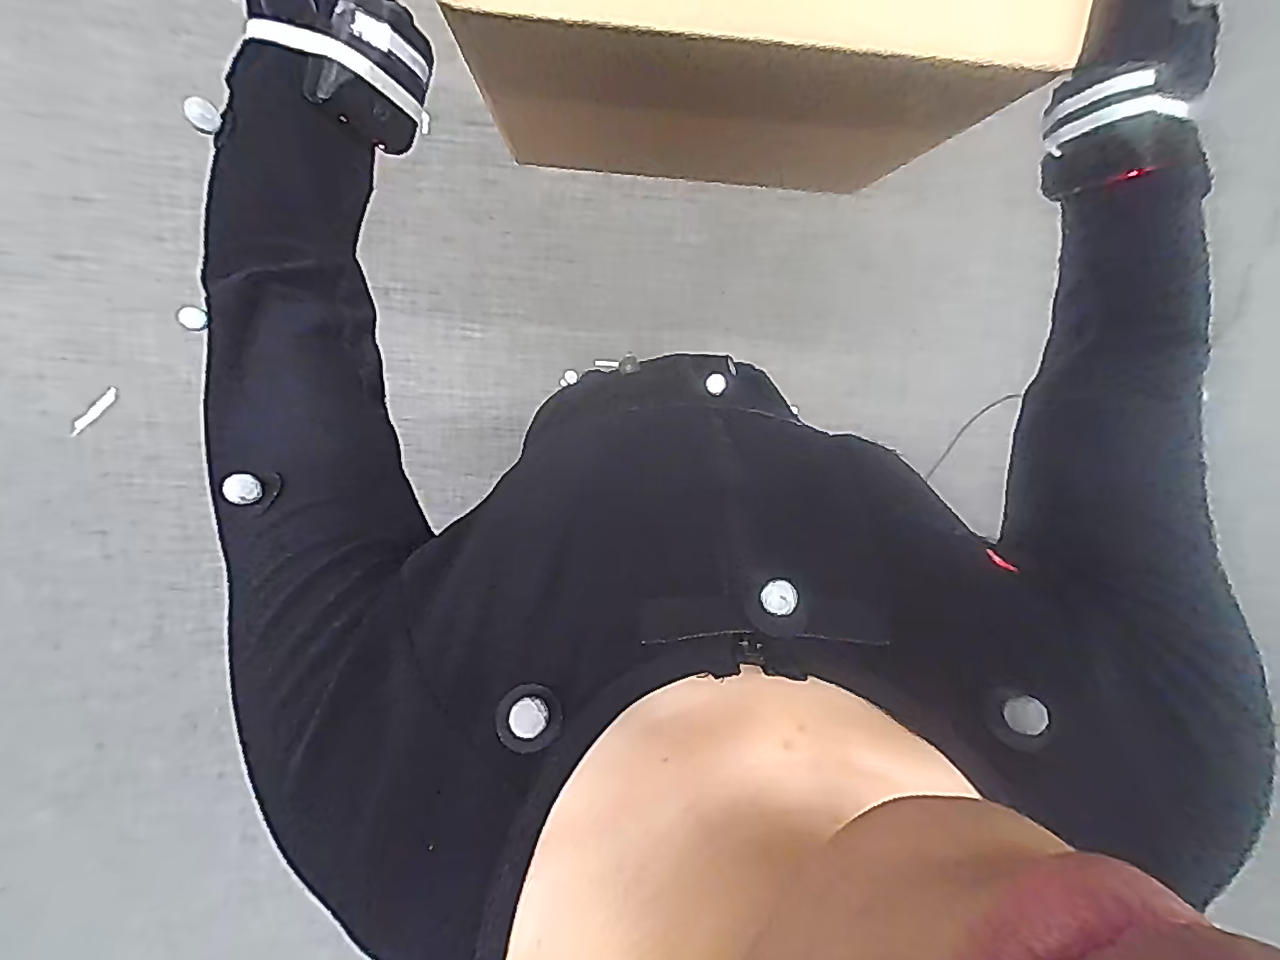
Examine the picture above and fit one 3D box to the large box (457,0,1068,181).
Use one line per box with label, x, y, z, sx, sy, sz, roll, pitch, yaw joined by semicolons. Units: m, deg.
large box;0.074;-0.468;0.452;0.408;0.320;0.320;1;105;-5
